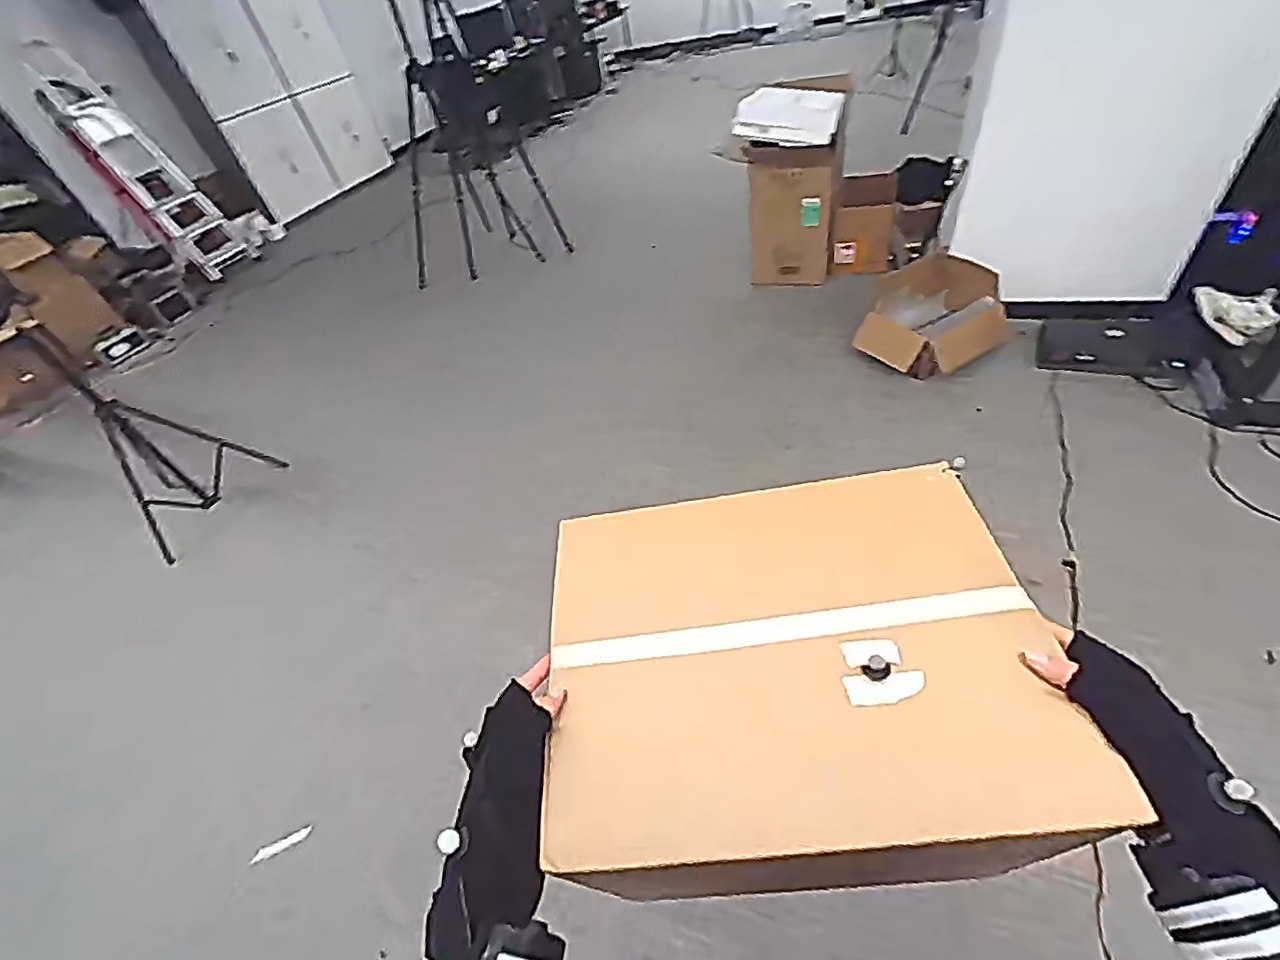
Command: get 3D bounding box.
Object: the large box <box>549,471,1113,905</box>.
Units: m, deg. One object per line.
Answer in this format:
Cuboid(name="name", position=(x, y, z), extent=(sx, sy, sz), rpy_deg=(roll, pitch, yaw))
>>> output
Cuboid(name="large box", position=(0.141, 0.234, 0.586), extent=(0.408, 0.320, 0.320), rpy_deg=(-10, 48, 5))
